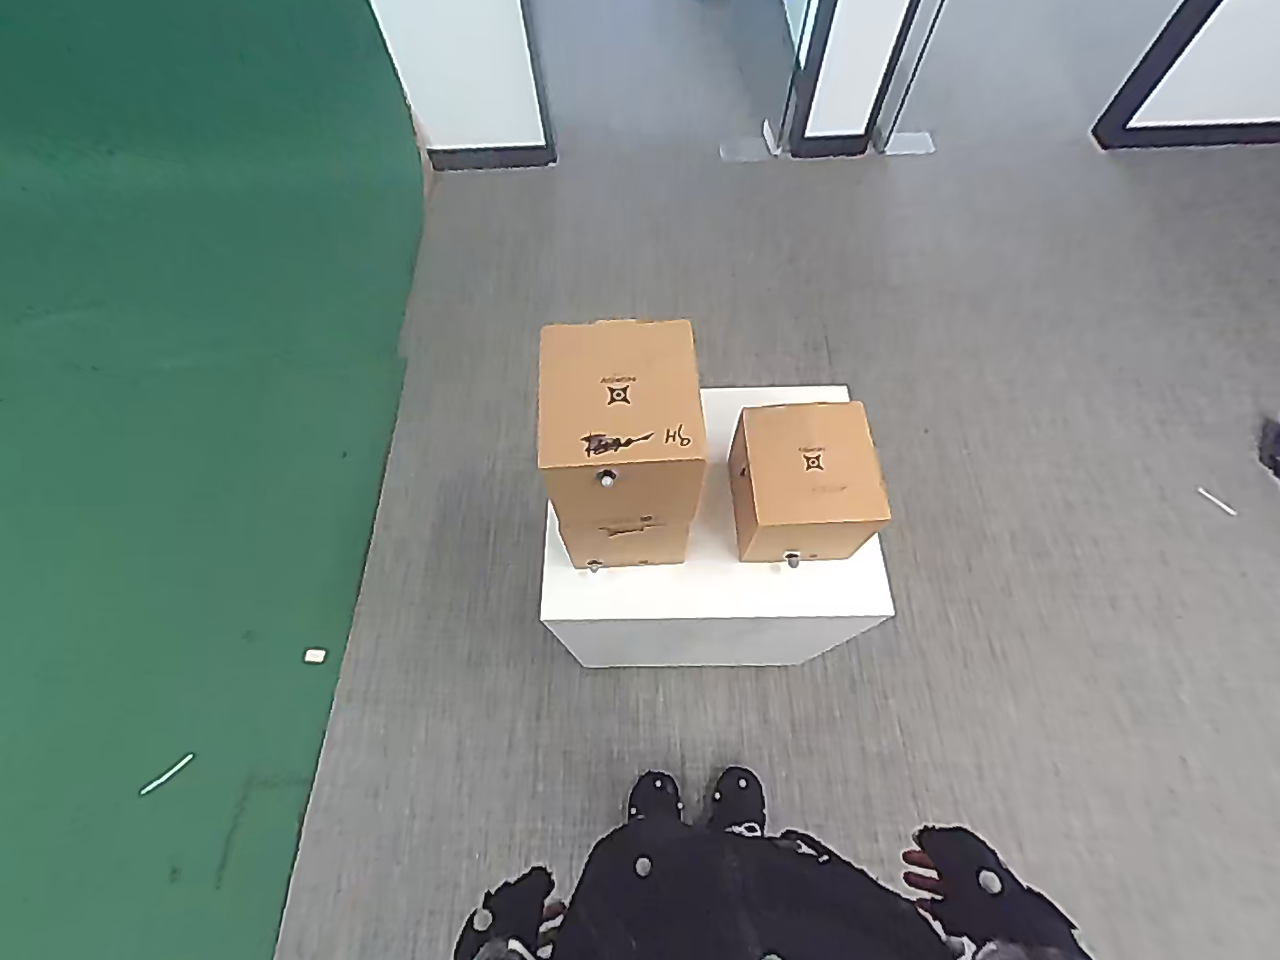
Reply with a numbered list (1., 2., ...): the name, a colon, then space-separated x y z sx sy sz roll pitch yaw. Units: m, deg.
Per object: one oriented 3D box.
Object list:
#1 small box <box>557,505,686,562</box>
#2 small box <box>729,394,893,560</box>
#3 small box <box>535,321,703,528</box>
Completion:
1. small box: -0.023 0.013 0.775 0.168 0.176 0.179 -4 63 0
2. small box: 0.223 0.002 0.758 0.168 0.176 0.179 -4 66 1
3. small box: -0.023 -0.058 0.629 0.168 0.176 0.179 -4 63 0
